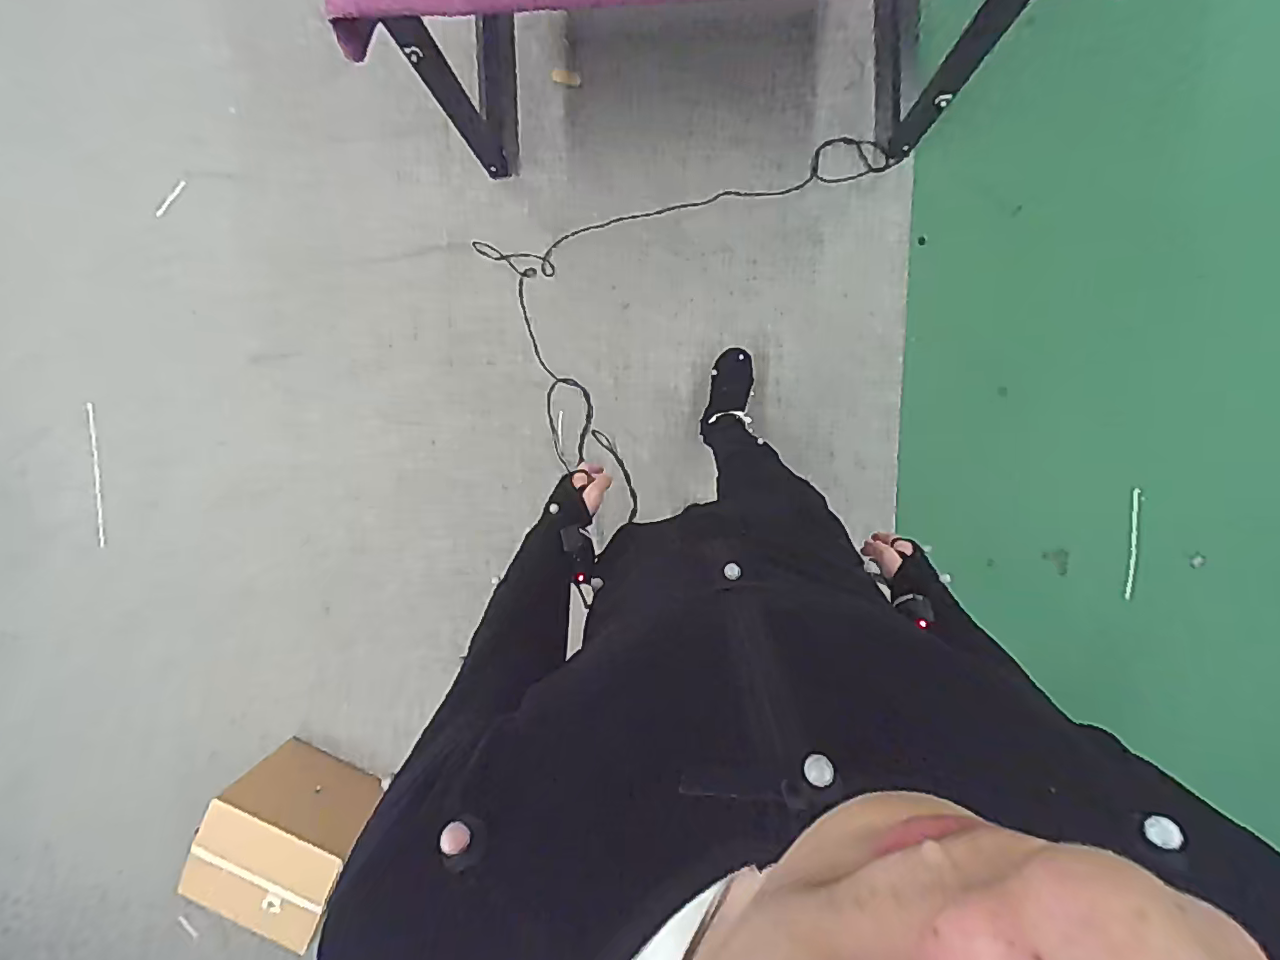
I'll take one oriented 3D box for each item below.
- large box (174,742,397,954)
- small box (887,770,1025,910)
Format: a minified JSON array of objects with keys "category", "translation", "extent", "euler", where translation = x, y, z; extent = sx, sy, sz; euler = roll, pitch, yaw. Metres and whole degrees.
[{"category":"large box","translation":[-1.027,1.064,1.609],"extent":[0.408,0.320,0.320],"euler":[24,96,1]},{"category":"small box","translation":[0.700,0.799,1.226],"extent":[0.179,0.176,0.168],"euler":[40,97,0]}]
